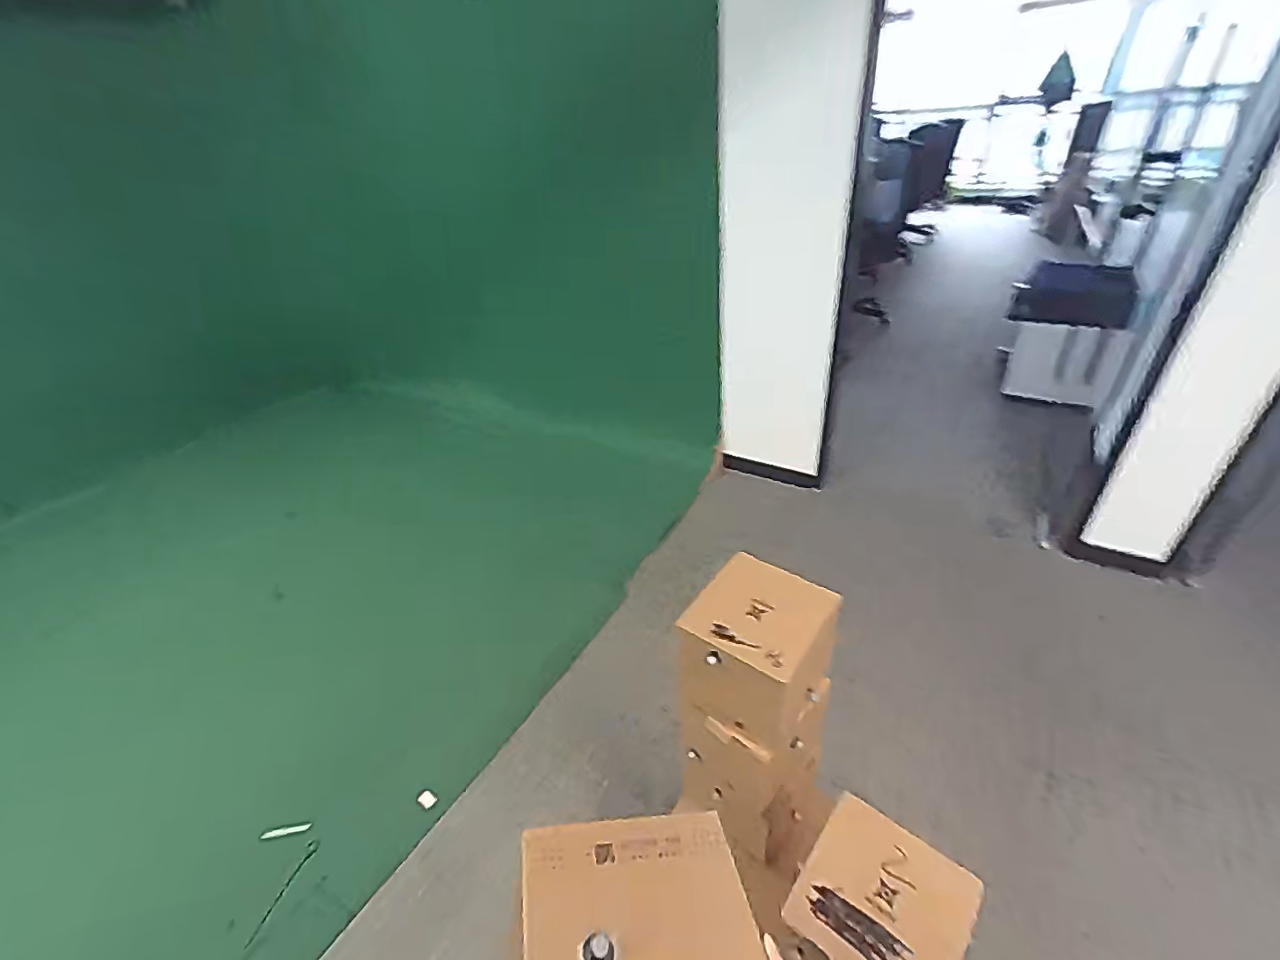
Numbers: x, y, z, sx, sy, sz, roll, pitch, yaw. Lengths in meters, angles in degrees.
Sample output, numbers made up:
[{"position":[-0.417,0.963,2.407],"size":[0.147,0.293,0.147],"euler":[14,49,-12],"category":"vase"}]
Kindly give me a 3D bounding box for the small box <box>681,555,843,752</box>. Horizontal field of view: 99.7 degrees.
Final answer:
[{"position":[0.174,0.247,0.791],"size":[0.168,0.176,0.179],"euler":[21,42,34],"category":"small box"}]

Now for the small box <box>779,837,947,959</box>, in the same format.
[{"position":[0.303,0.663,0.755],"size":[0.168,0.176,0.179],"euler":[19,42,31],"category":"small box"}]

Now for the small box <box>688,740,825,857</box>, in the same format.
[{"position":[0.204,0.523,0.970],"size":[0.179,0.176,0.168],"euler":[27,47,36],"category":"small box"}]

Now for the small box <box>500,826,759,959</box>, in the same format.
[{"position":[-0.015,0.388,0.402],"size":[0.168,0.179,0.176],"euler":[5,24,-16],"category":"small box"}]

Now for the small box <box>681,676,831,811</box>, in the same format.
[{"position":[0.187,0.386,0.879],"size":[0.179,0.176,0.168],"euler":[-31,42,-33],"category":"small box"}]
